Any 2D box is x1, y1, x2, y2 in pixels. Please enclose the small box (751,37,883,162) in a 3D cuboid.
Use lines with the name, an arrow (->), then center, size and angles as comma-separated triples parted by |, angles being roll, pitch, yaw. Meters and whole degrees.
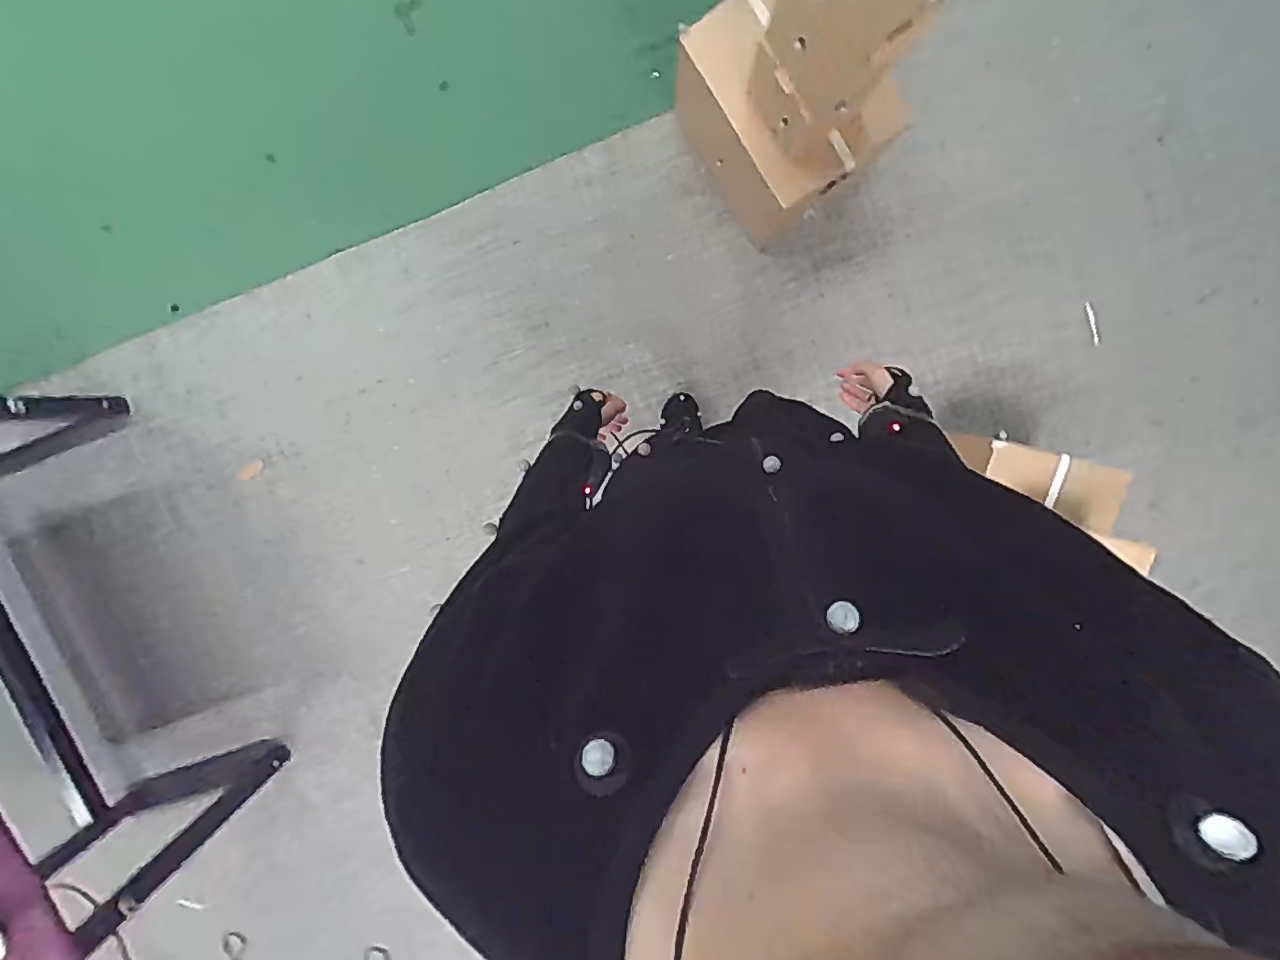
small box -> 0.321, -0.735, 0.999 | 0.179, 0.176, 0.168 | -33, 96, 6

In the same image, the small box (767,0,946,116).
small box -> 0.321, -0.711, 0.837 | 0.168, 0.176, 0.179 | -34, 95, 6

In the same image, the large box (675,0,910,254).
large box -> 0.316, -0.810, 1.235 | 0.320, 0.320, 0.408 | -34, 94, 5
